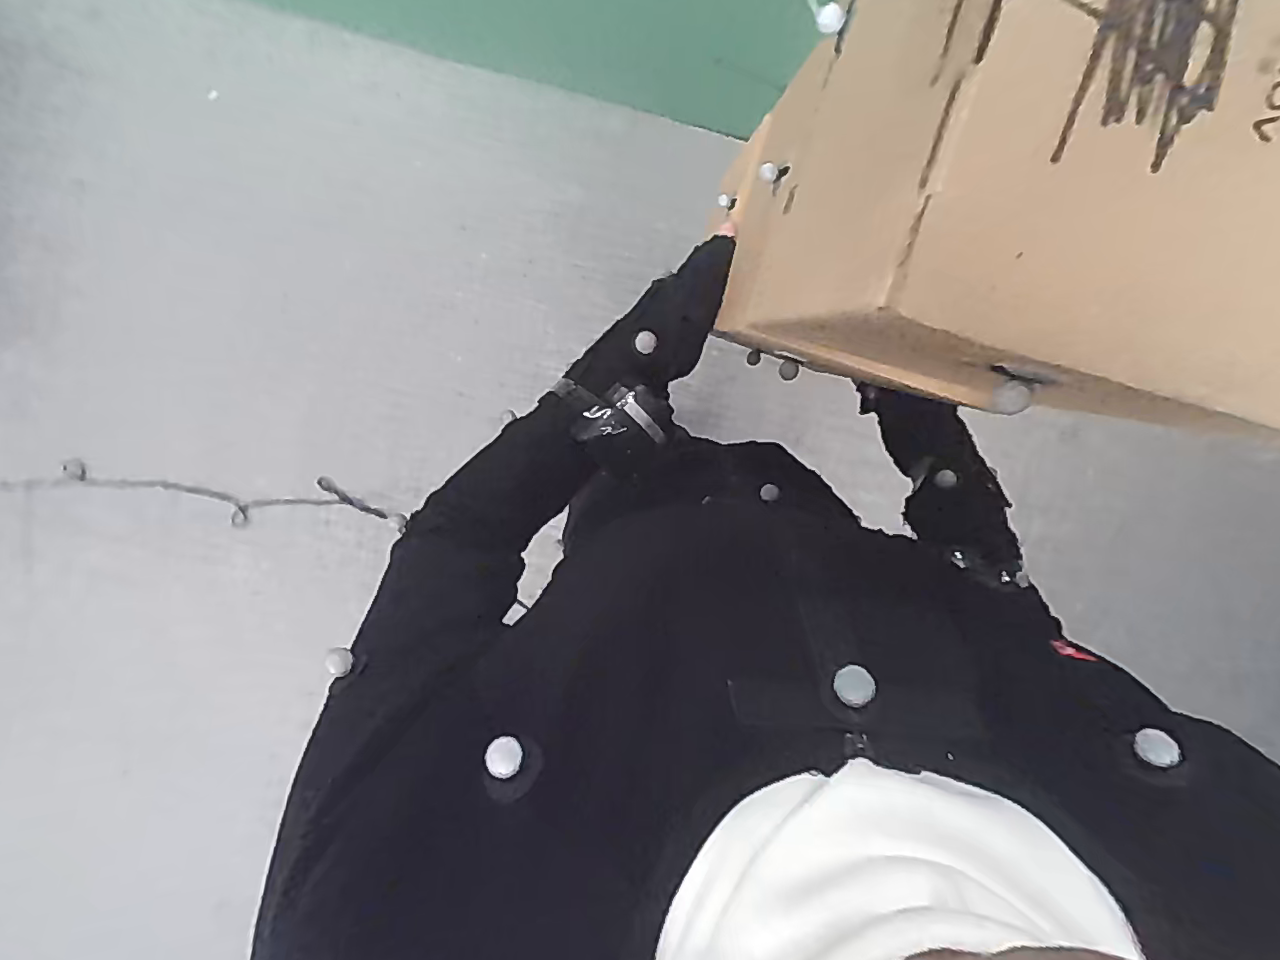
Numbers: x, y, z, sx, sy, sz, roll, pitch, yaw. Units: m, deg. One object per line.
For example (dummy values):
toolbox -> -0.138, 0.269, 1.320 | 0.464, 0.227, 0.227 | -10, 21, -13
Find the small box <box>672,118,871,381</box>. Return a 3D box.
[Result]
small box -> 0.140, -0.209, 0.525 | 0.179, 0.176, 0.168 | 16, 107, -6

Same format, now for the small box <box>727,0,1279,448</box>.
small box -> 0.146, -0.122, 0.209 | 0.179, 0.176, 0.168 | 14, 105, -5
